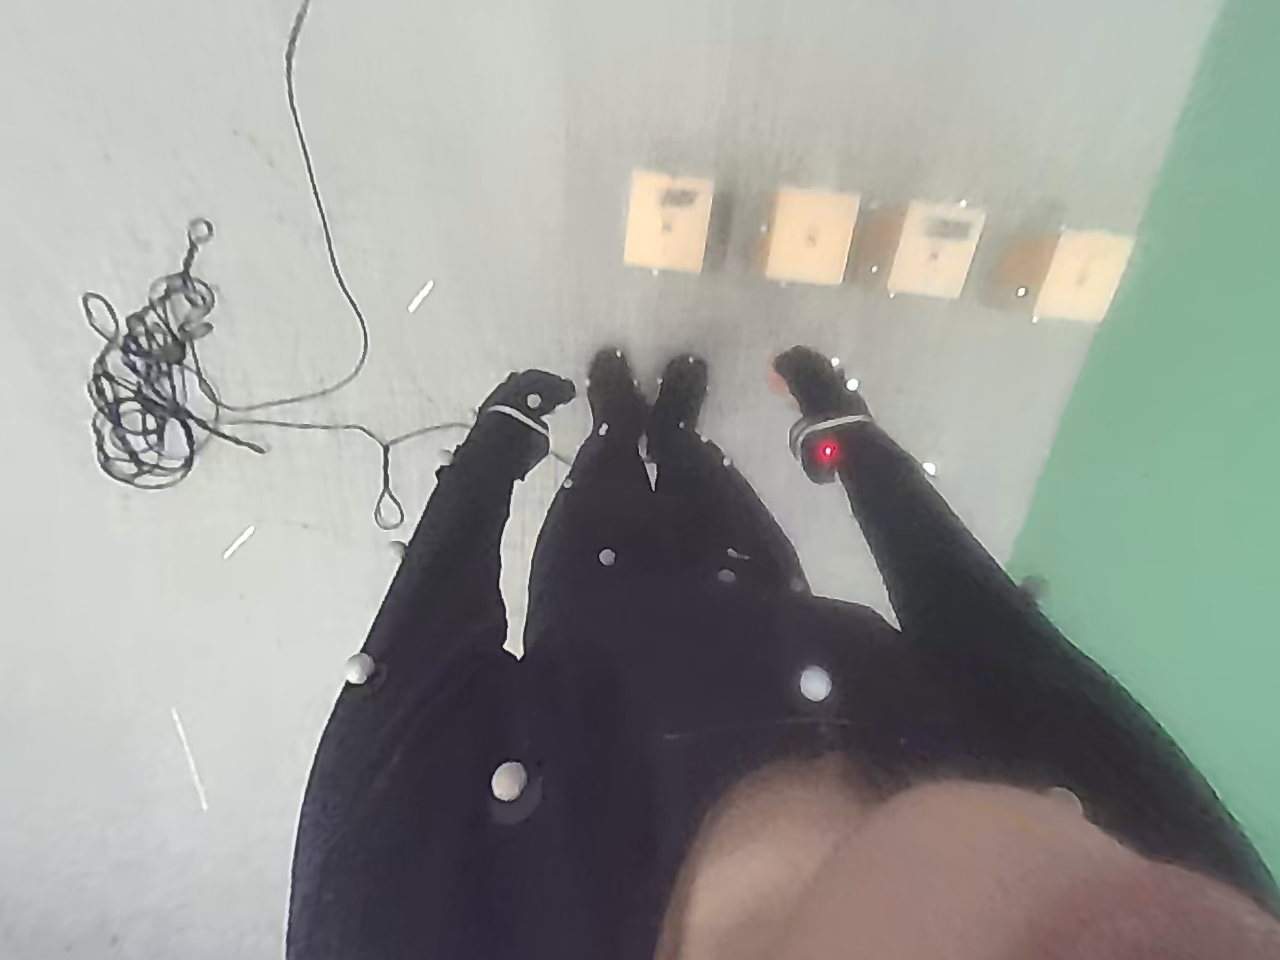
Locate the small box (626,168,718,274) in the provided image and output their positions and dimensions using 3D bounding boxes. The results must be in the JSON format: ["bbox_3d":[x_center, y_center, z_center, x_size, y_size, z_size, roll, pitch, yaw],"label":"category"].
[{"bbox_3d":[0.059,-0.545,1.155,0.168,0.176,0.179,6,112,-3],"label":"small box"}]

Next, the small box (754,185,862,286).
[{"bbox_3d":[0.352,-0.522,1.173,0.168,0.176,0.179,5,110,-3],"label":"small box"}]

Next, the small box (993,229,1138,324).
[{"bbox_3d":[0.937,-0.457,1.213,0.168,0.176,0.179,4,112,-4],"label":"small box"}]
